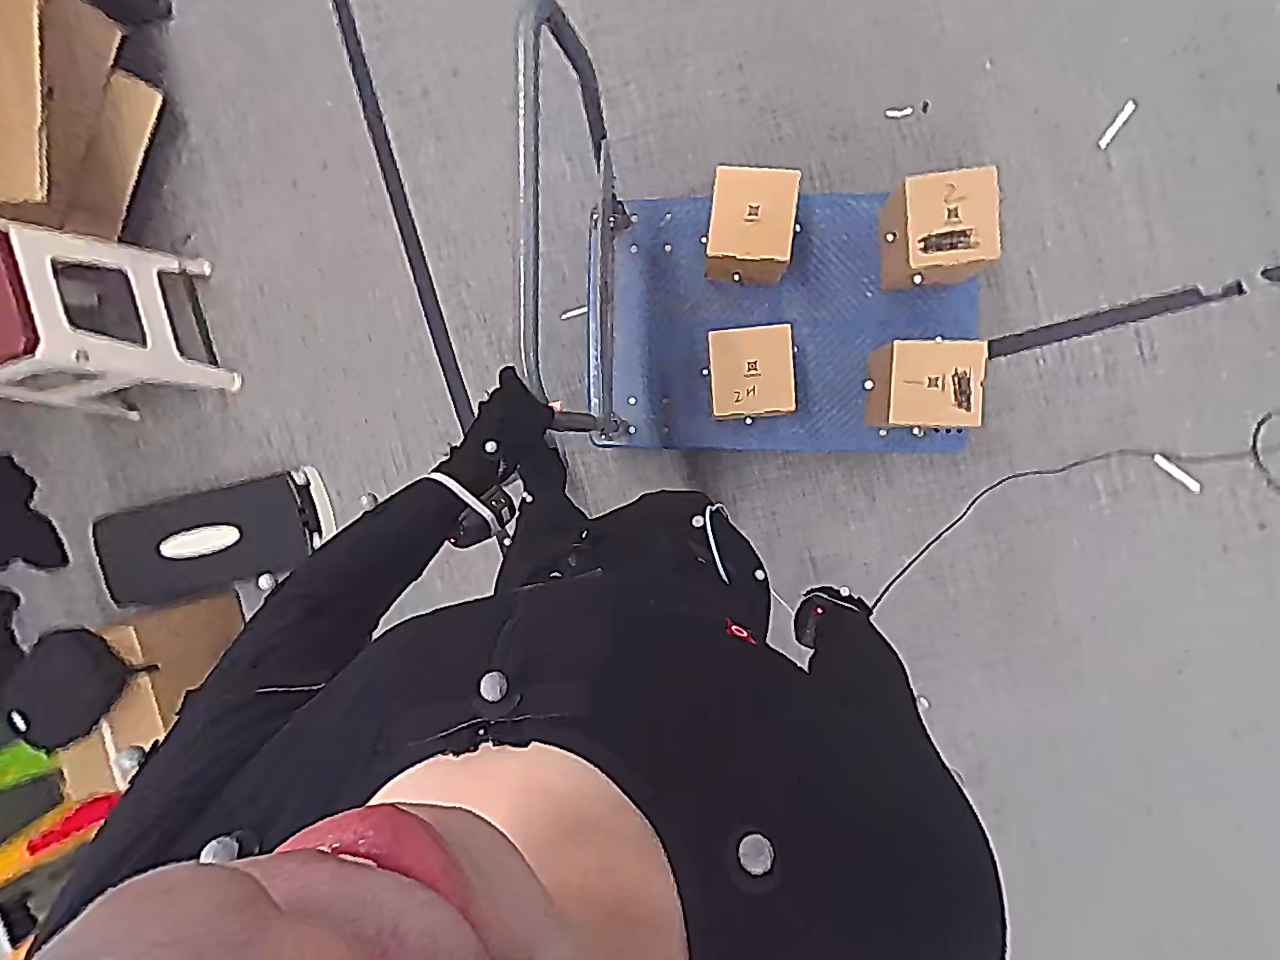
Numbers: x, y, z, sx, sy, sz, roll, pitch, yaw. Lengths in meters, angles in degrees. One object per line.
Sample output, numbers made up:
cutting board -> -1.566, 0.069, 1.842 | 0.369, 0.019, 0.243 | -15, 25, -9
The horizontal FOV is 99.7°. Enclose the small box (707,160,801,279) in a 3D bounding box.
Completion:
small box -> 0.233, -0.544, 1.146 | 0.168, 0.176, 0.179 | 6, 97, 5

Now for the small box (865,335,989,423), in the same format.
small box -> 0.591, -0.206, 1.134 | 0.179, 0.176, 0.168 | 2, 95, 7

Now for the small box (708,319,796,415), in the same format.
small box -> 0.236, -0.237, 1.170 | 0.168, 0.176, 0.179 | -4, 94, 7
